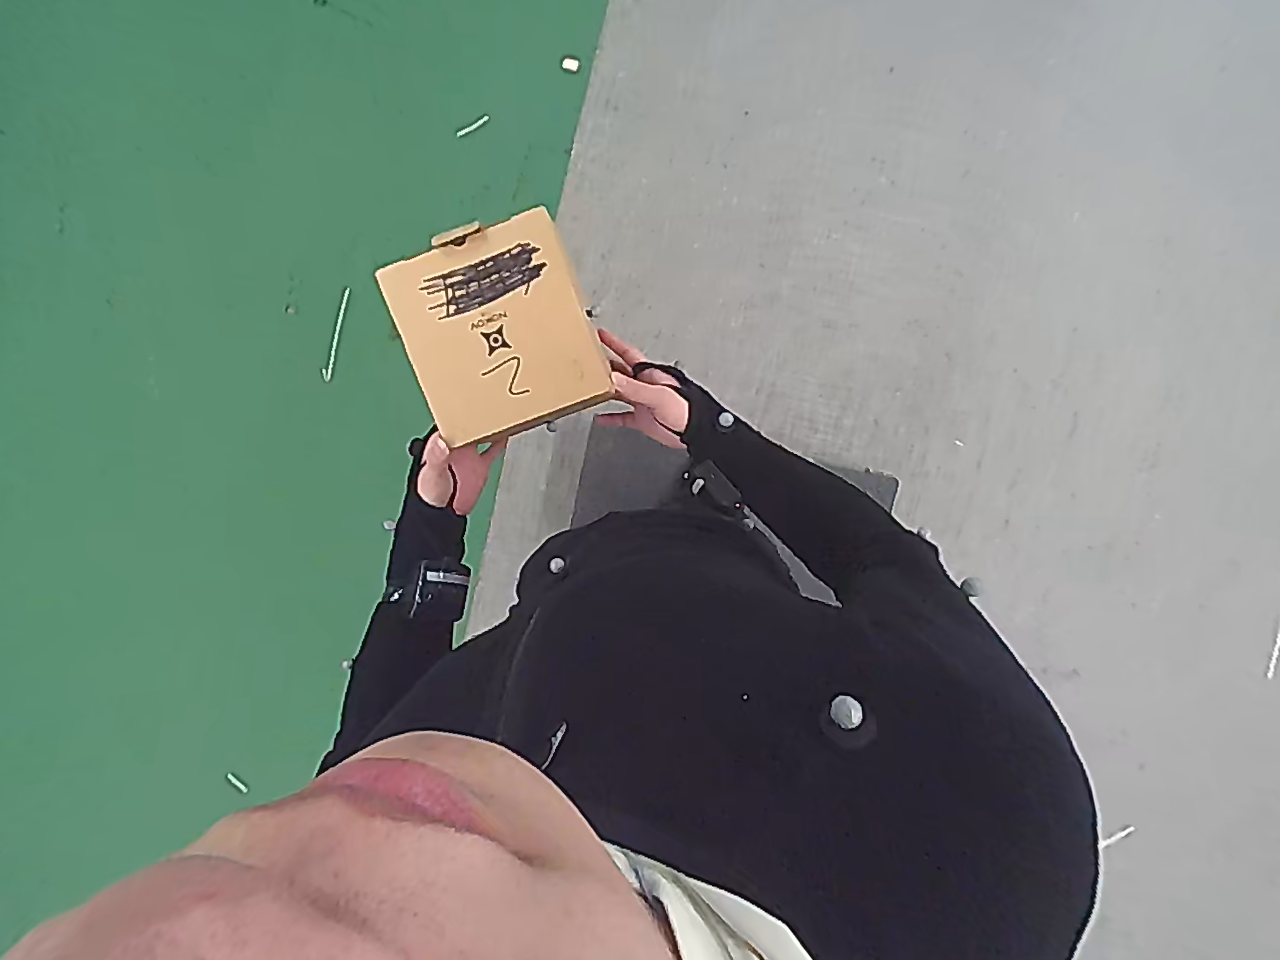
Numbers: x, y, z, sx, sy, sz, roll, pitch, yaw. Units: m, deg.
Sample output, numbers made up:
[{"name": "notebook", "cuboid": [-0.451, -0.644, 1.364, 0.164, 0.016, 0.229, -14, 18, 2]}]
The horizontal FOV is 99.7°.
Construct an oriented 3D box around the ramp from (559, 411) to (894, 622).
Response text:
[{"name": "ramp", "cuboid": [0.284, 0.125, 1.672, 0.991, 0.206, 0.509, 10, 92, 2]}]
